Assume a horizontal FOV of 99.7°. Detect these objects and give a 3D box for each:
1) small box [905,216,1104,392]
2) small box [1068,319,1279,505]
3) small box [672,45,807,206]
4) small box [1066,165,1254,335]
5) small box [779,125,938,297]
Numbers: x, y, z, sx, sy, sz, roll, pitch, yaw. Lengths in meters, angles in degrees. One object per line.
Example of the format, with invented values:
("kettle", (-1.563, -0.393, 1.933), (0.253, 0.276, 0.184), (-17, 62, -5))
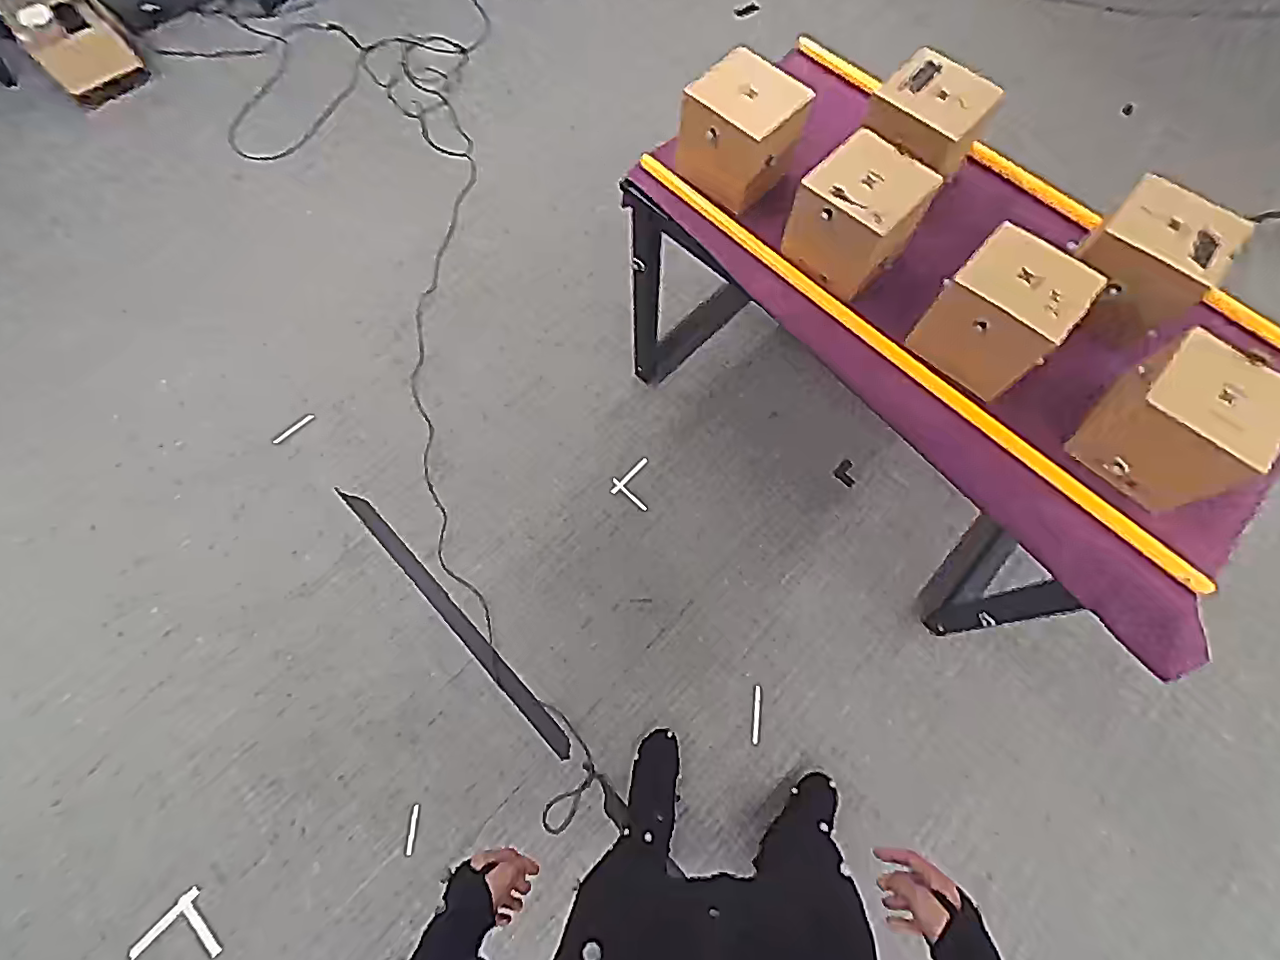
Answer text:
("small box", (0.573, -0.277, 0.877), (0.179, 0.176, 0.168), (41, 74, 14))
("small box", (0.799, -0.095, 0.807), (0.168, 0.176, 0.179), (41, 73, 16))
("small box", (0.178, -0.656, 1.022), (0.179, 0.176, 0.168), (42, 75, 14))
("small box", (0.835, -0.375, 0.913), (0.179, 0.176, 0.168), (39, 76, 15))
("small box", (0.369, -0.465, 0.950), (0.168, 0.176, 0.179), (42, 75, 15))
